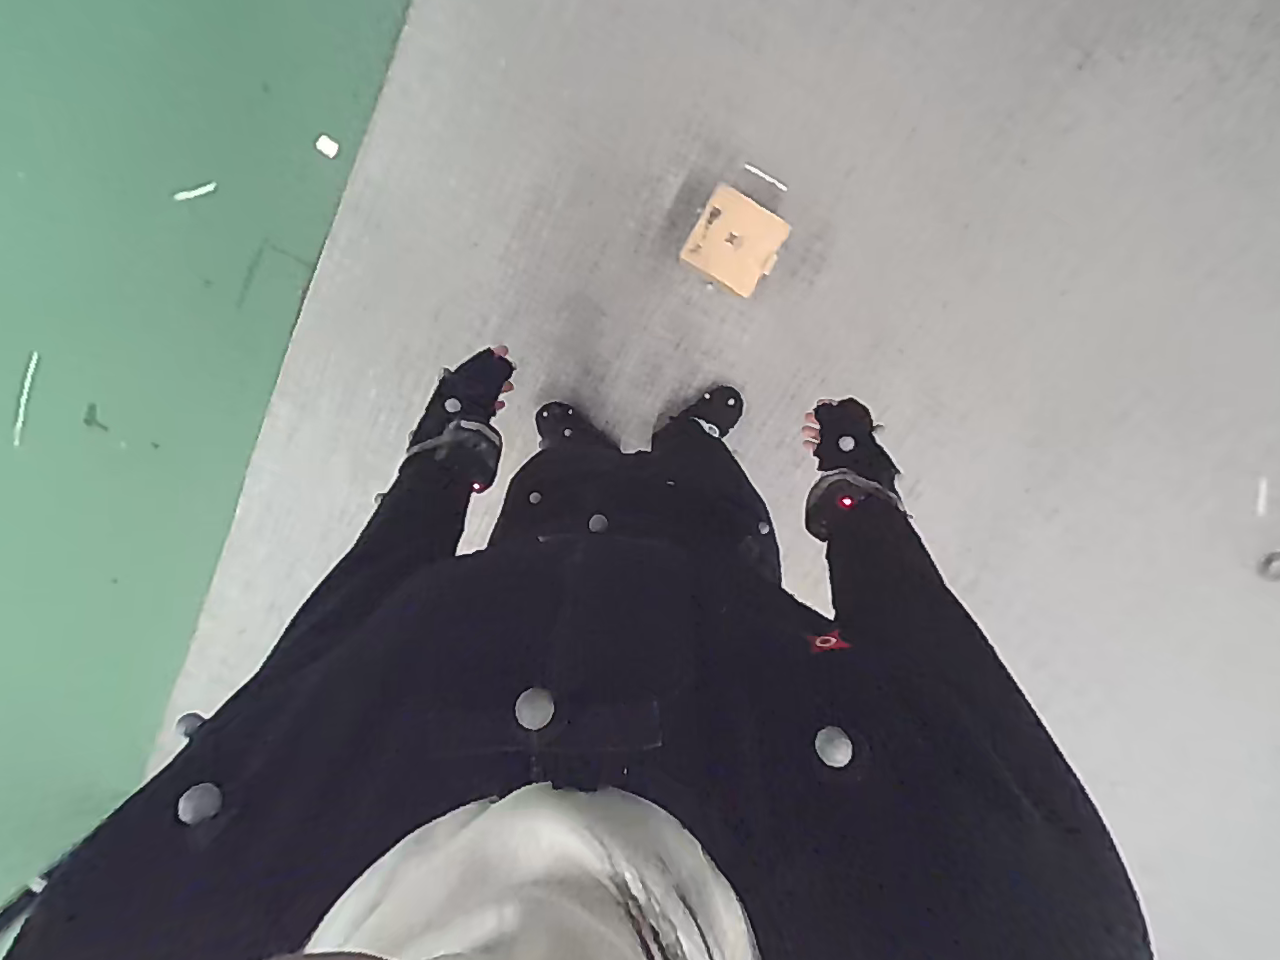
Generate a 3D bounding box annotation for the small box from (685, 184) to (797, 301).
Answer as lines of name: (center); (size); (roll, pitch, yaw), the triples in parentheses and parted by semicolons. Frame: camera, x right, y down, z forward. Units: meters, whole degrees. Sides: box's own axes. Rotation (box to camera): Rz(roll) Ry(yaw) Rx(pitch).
small box: (0.217, -0.513, 1.195); (0.179, 0.176, 0.168); (33, 107, -3)
